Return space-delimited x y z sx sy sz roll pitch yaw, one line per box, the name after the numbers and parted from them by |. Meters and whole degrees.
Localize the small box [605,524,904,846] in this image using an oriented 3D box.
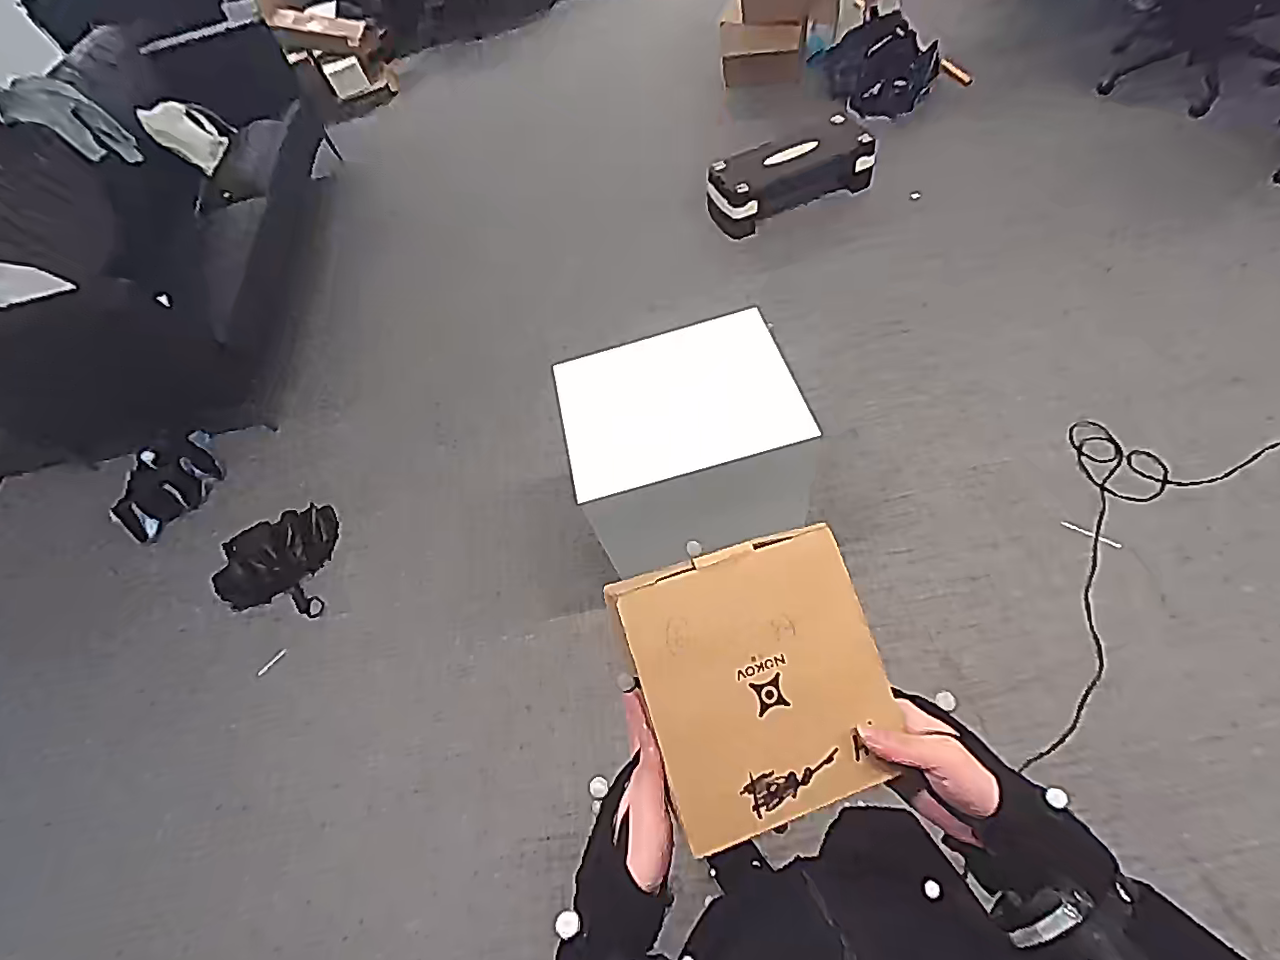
0.073 0.149 0.450 0.168 0.176 0.179 -16 82 -9 | small box
